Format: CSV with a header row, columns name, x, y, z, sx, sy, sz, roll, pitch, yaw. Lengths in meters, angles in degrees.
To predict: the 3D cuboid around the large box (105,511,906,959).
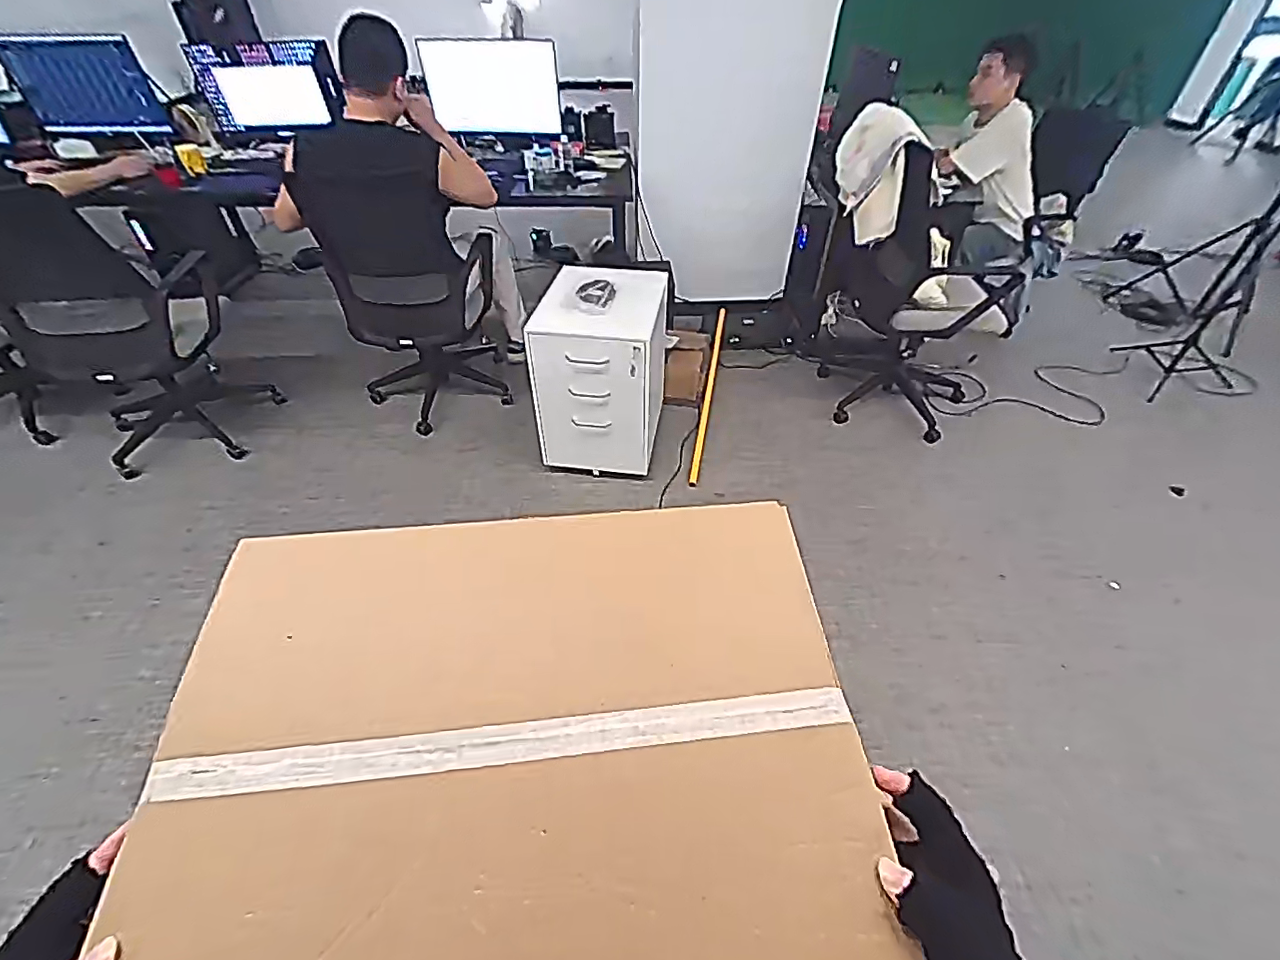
name,x,y,z,sx,sy,sz,roll,pitch,yaw
large box,-0.077,0.250,0.448,0.408,0.320,0.320,-4,54,-5
